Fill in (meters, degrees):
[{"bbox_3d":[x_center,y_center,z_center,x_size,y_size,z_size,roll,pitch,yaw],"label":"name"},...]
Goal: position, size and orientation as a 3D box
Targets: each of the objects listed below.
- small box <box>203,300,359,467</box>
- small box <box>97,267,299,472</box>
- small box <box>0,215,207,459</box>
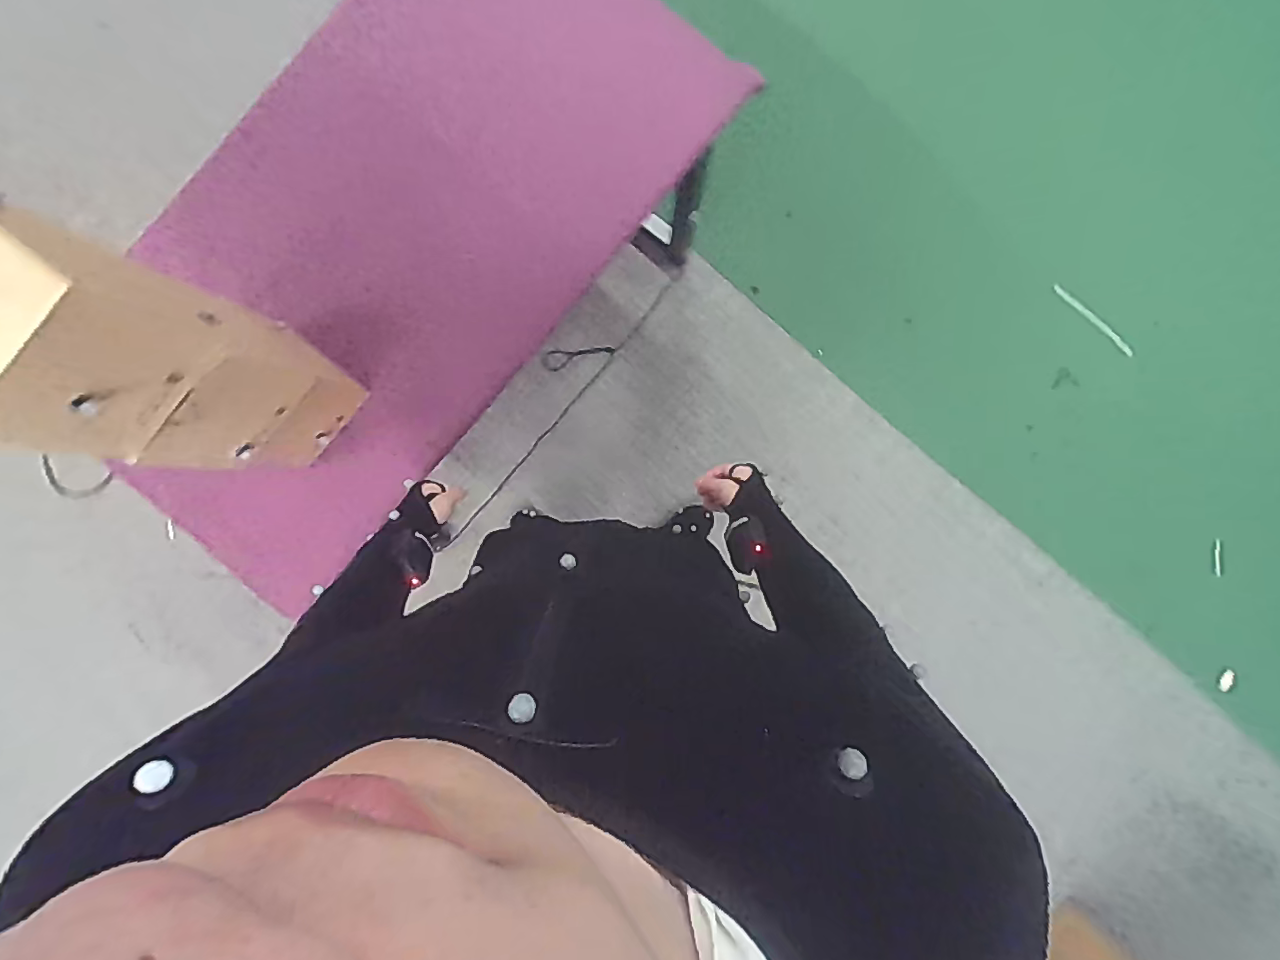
[{"bbox_3d":[-0.577,-0.130,0.816,0.179,0.176,0.168,39,89,-1],"label":"small box"},{"bbox_3d":[-0.568,-0.125,0.653,0.179,0.176,0.168,39,89,1],"label":"small box"},{"bbox_3d":[-0.563,-0.131,0.491,0.179,0.176,0.168,37,90,1],"label":"small box"}]
